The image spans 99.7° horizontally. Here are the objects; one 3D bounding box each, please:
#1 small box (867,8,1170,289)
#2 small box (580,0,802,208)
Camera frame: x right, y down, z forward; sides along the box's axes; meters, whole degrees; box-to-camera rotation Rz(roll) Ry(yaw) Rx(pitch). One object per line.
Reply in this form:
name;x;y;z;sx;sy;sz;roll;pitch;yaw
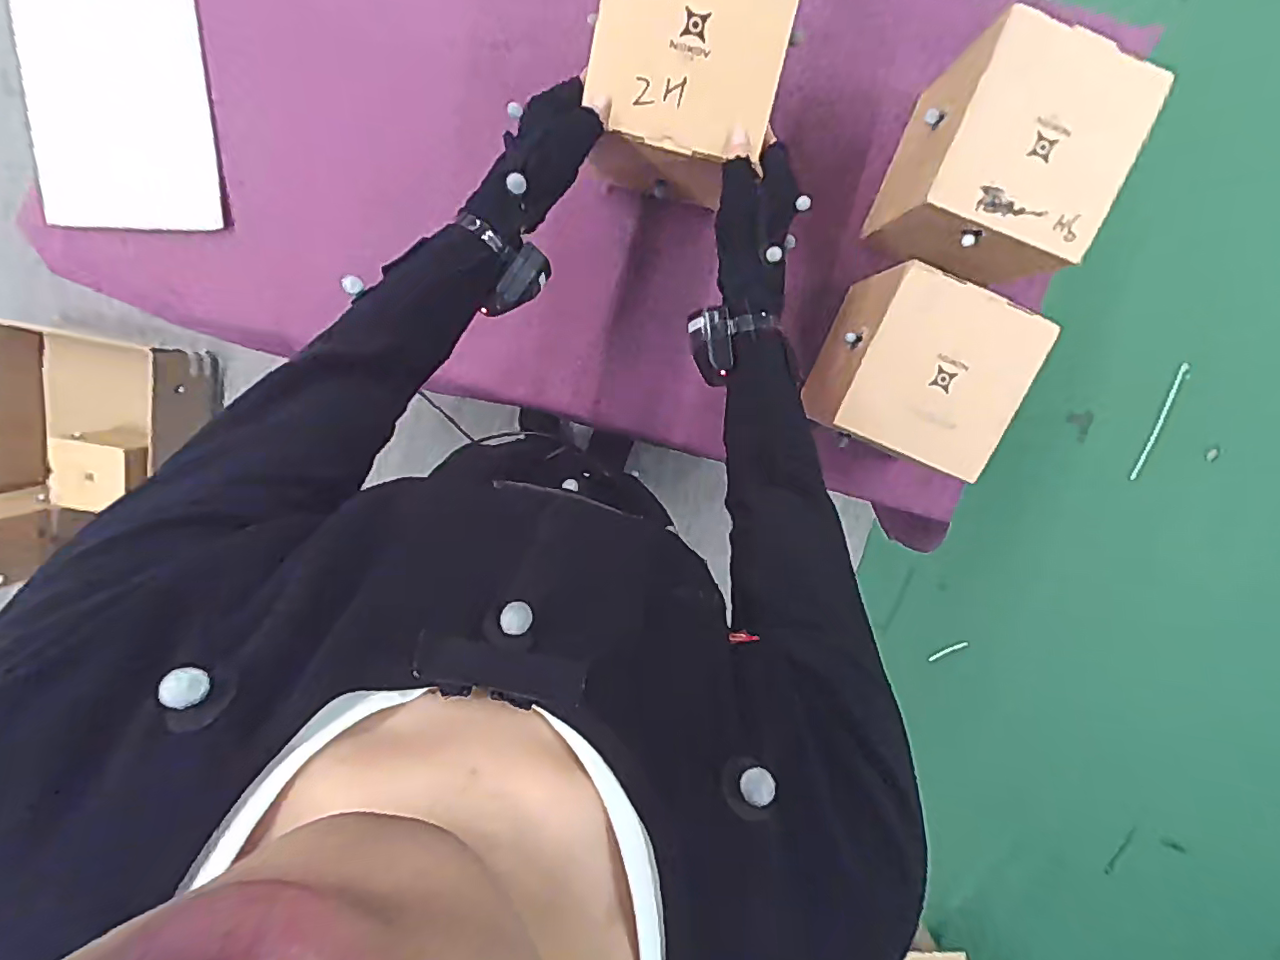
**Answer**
small box;0.374;-0.326;0.576;0.168;0.176;0.179;21;101;-4
small box;0.044;-0.396;0.535;0.168;0.176;0.179;13;105;-4
